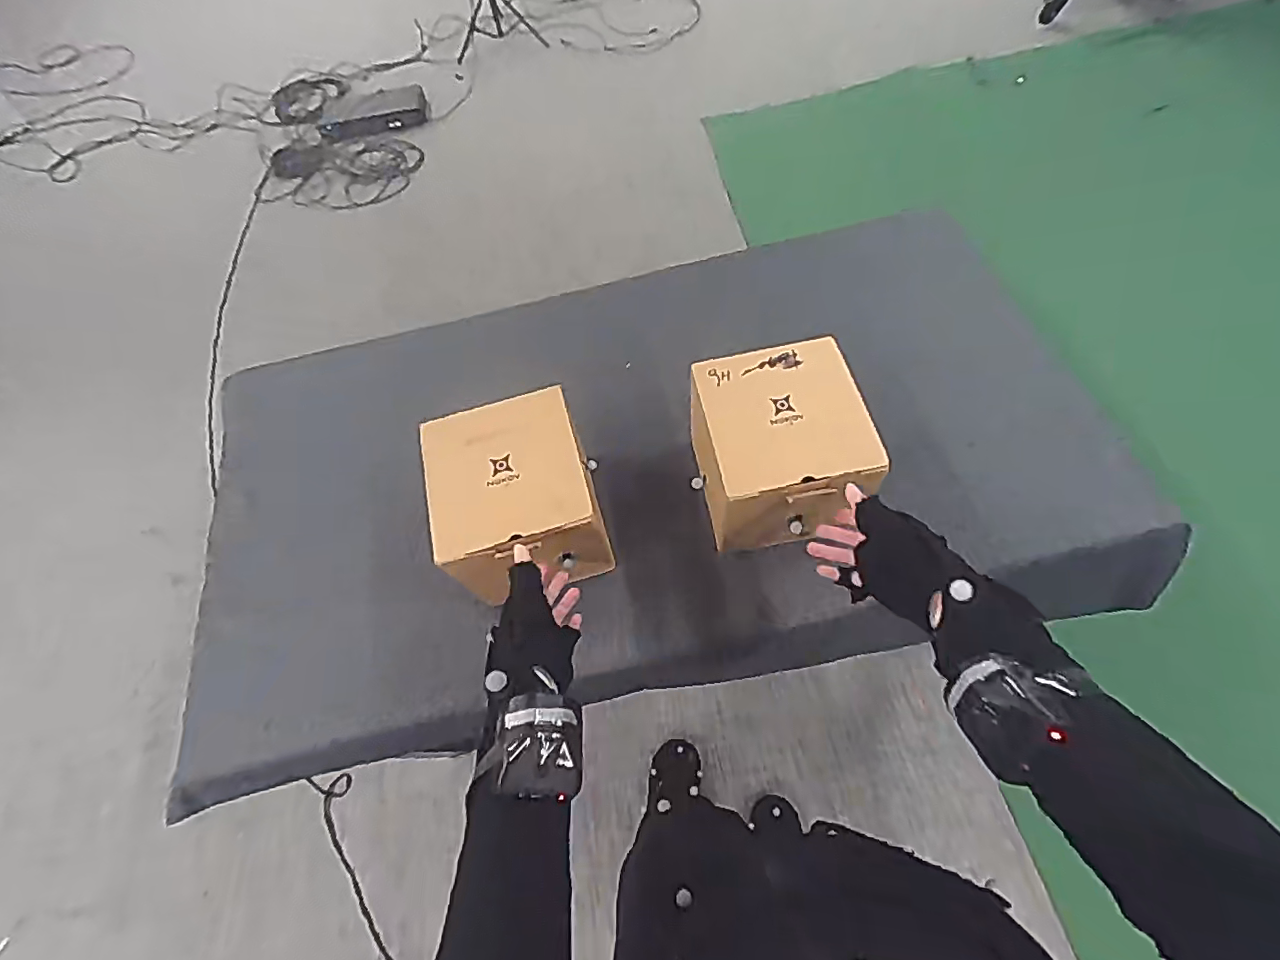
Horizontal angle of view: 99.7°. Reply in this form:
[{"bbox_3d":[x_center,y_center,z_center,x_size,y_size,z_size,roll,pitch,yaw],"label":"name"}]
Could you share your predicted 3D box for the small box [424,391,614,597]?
[{"bbox_3d":[-0.138,0.029,0.654,0.168,0.176,0.179,-18,62,-3],"label":"small box"}]
